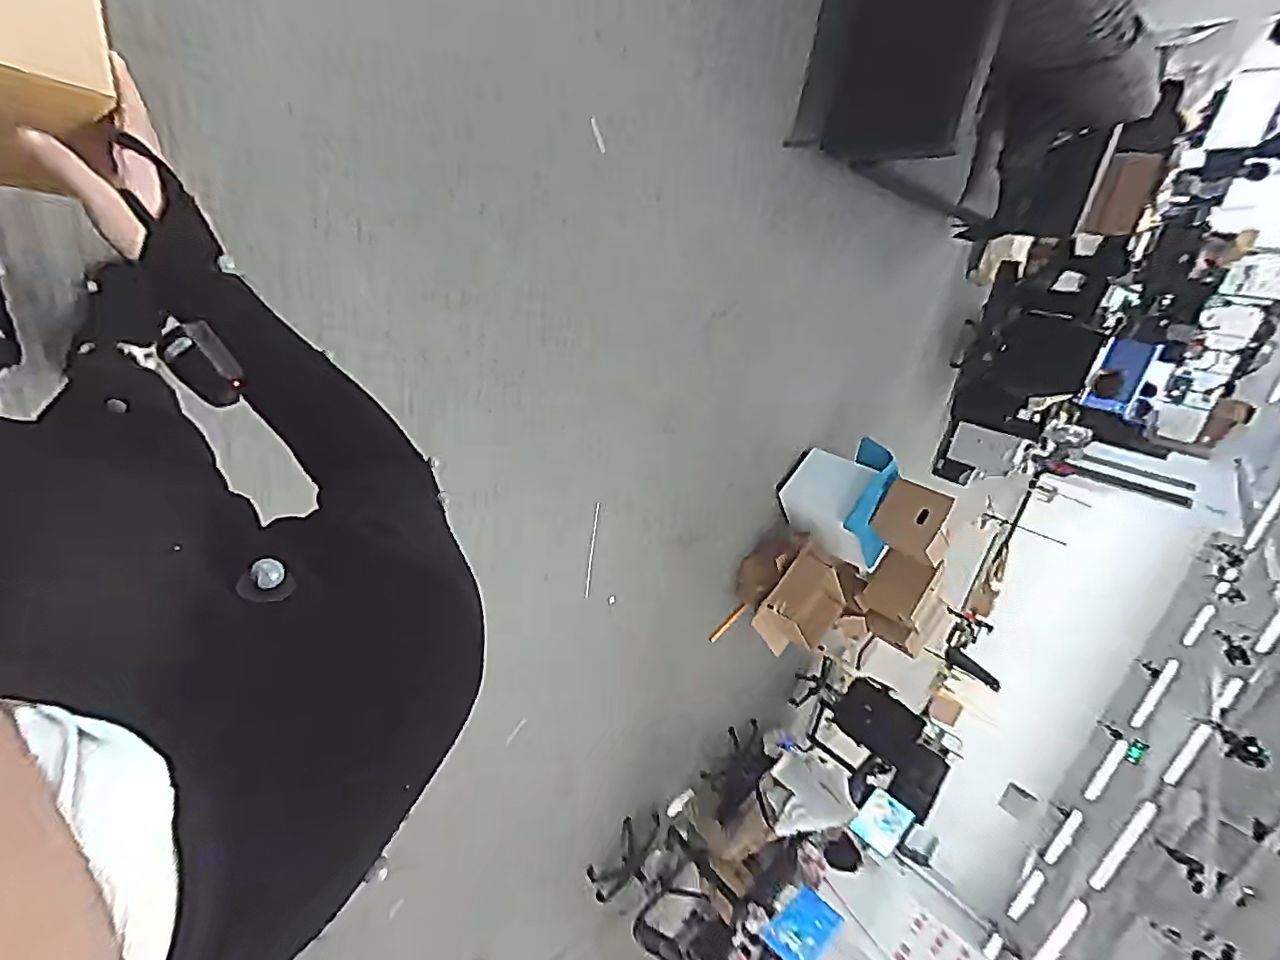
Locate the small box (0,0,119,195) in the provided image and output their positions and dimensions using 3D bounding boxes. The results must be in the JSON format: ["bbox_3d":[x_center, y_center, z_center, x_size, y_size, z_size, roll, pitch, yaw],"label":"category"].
[{"bbox_3d":[-0.537,-0.352,0.418,0.179,0.176,0.168,-10,89,-45],"label":"small box"}]
